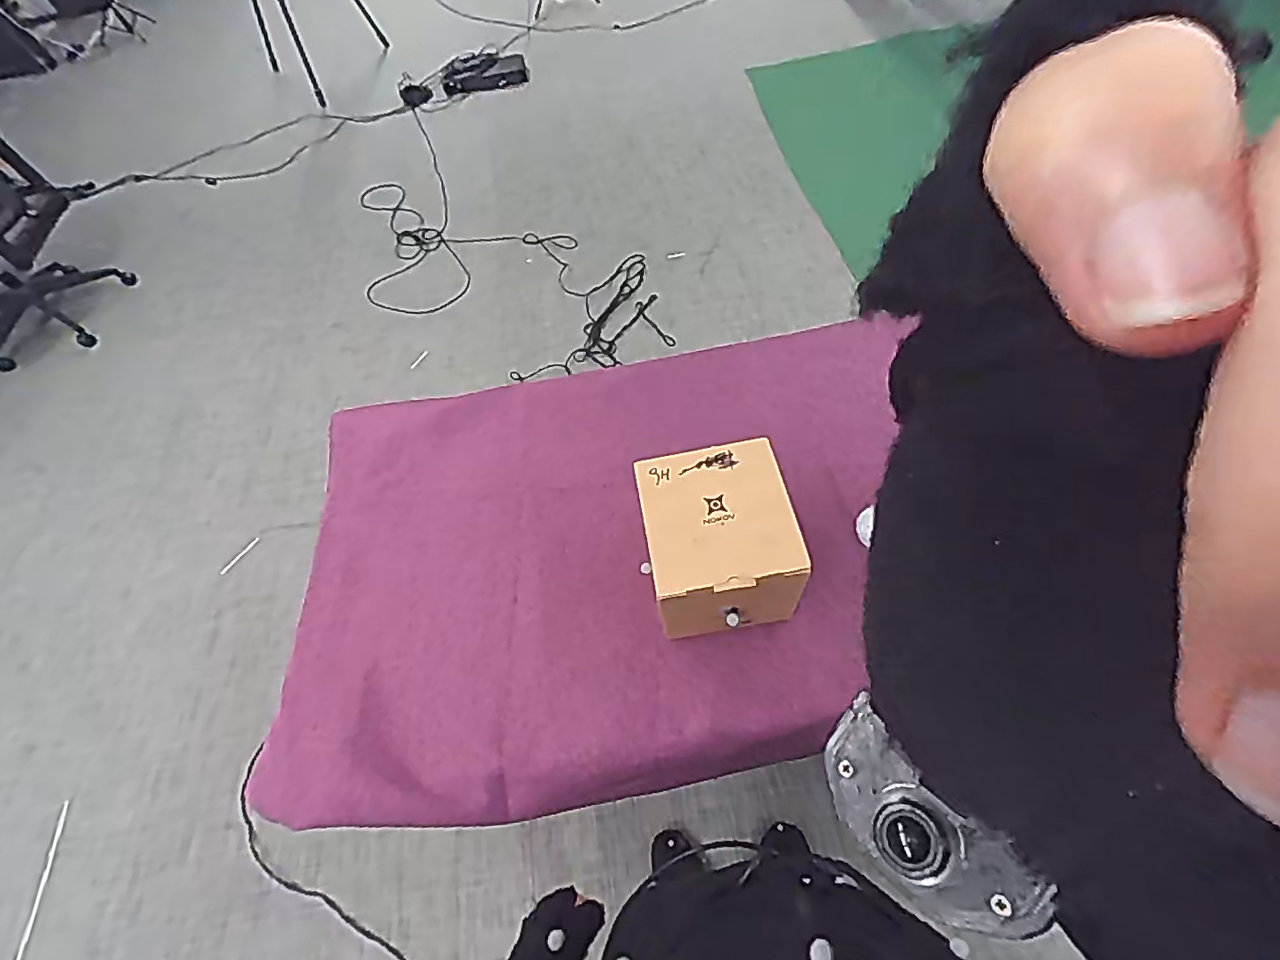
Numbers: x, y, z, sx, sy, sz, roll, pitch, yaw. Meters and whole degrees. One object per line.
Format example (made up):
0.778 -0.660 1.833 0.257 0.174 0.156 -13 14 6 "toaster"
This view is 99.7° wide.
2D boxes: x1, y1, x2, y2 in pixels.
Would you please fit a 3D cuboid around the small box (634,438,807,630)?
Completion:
0.094 0.077 0.672 0.168 0.176 0.179 -11 59 1 "small box"
